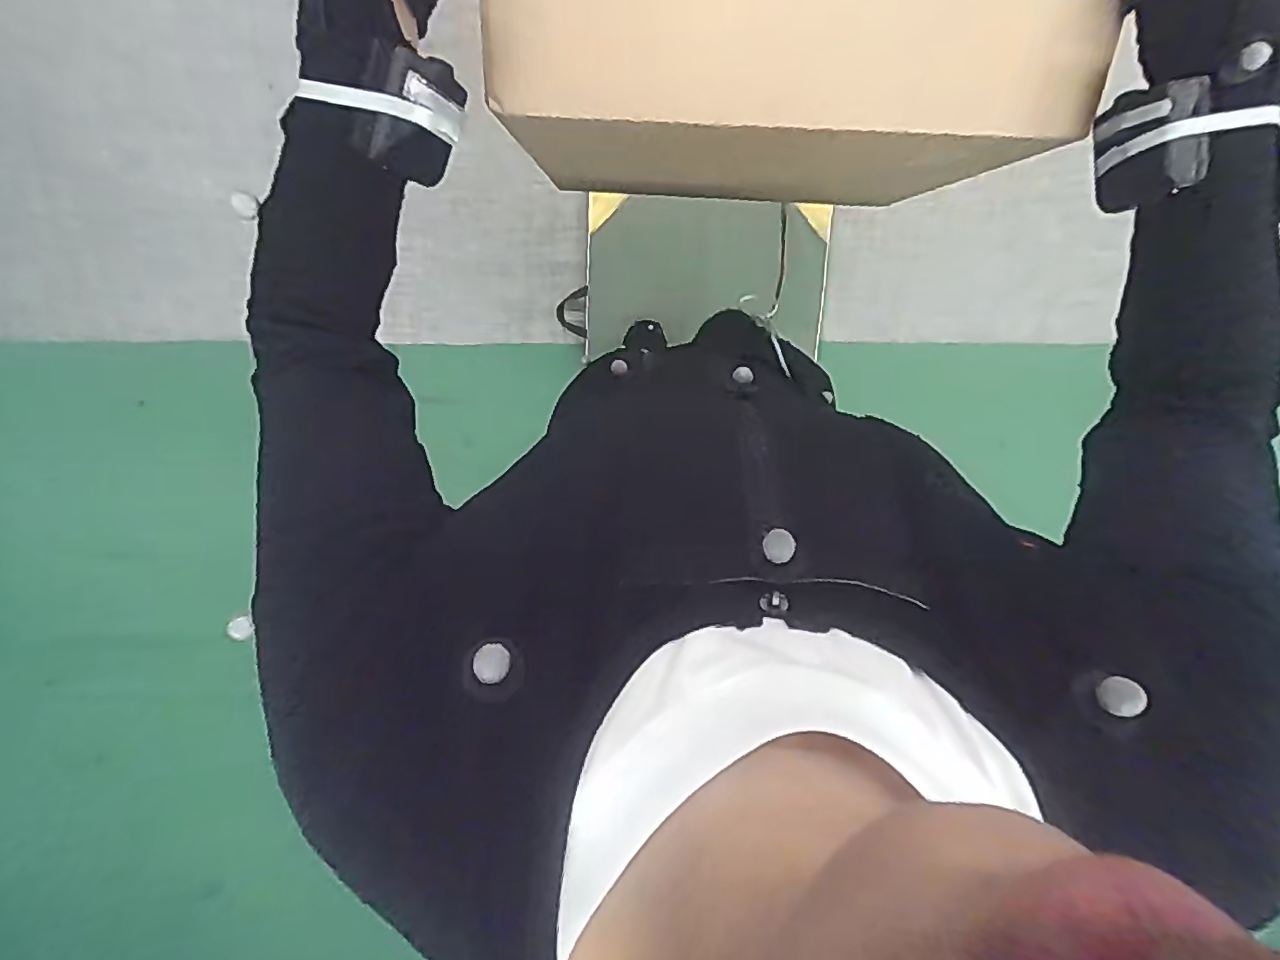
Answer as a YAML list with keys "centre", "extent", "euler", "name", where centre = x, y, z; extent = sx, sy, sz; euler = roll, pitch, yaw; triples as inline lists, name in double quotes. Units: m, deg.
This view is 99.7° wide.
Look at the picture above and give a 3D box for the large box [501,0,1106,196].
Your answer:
- centre: [0.105, -0.442, 0.464]
  extent: [0.408, 0.320, 0.320]
  euler: [1, 110, -2]
  name: "large box"
